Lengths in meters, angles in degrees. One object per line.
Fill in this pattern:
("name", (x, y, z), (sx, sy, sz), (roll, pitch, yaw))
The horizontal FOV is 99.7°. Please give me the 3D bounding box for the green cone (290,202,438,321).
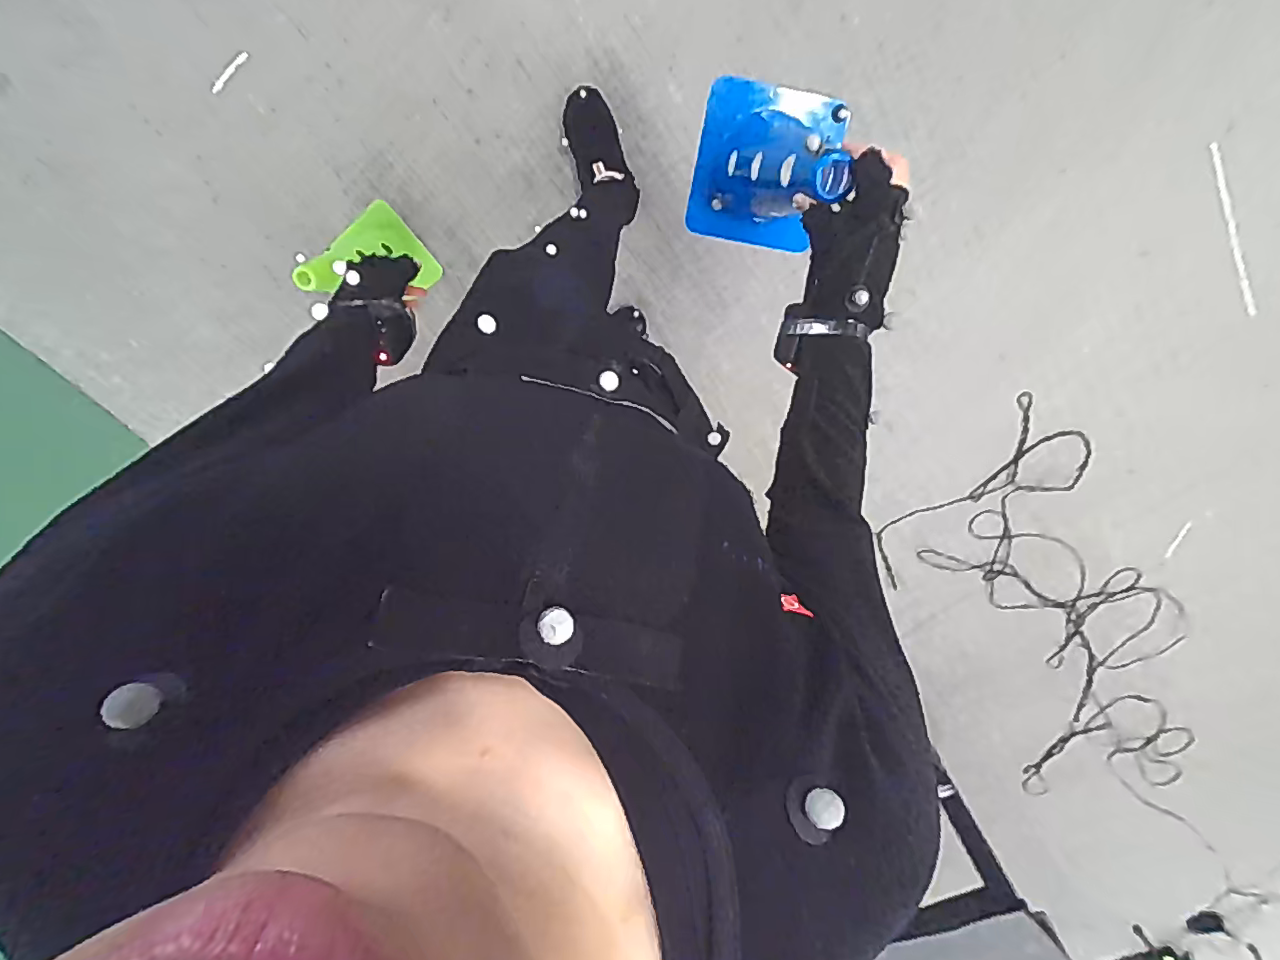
("green cone", (-0.594, -0.423, 1.098), (0.202, 0.368, 0.200), (-35, 113, 14))
